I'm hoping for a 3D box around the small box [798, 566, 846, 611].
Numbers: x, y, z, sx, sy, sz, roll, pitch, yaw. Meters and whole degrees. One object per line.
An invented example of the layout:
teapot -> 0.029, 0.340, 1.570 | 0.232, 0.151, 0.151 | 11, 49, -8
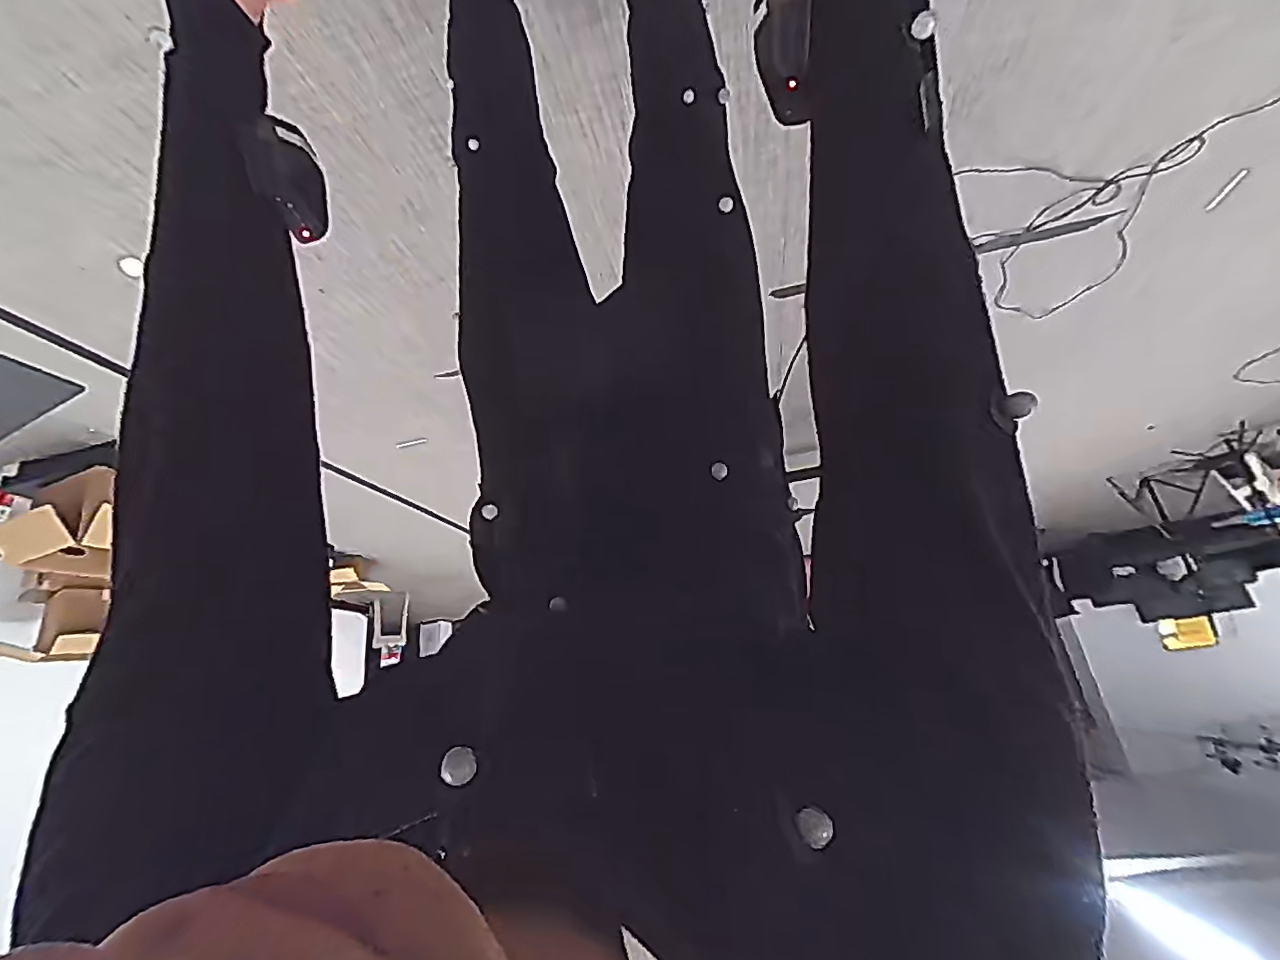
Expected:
small box -> 0.824, 0.498, 2.464 | 0.179, 0.176, 0.168 | -11, 161, 12
